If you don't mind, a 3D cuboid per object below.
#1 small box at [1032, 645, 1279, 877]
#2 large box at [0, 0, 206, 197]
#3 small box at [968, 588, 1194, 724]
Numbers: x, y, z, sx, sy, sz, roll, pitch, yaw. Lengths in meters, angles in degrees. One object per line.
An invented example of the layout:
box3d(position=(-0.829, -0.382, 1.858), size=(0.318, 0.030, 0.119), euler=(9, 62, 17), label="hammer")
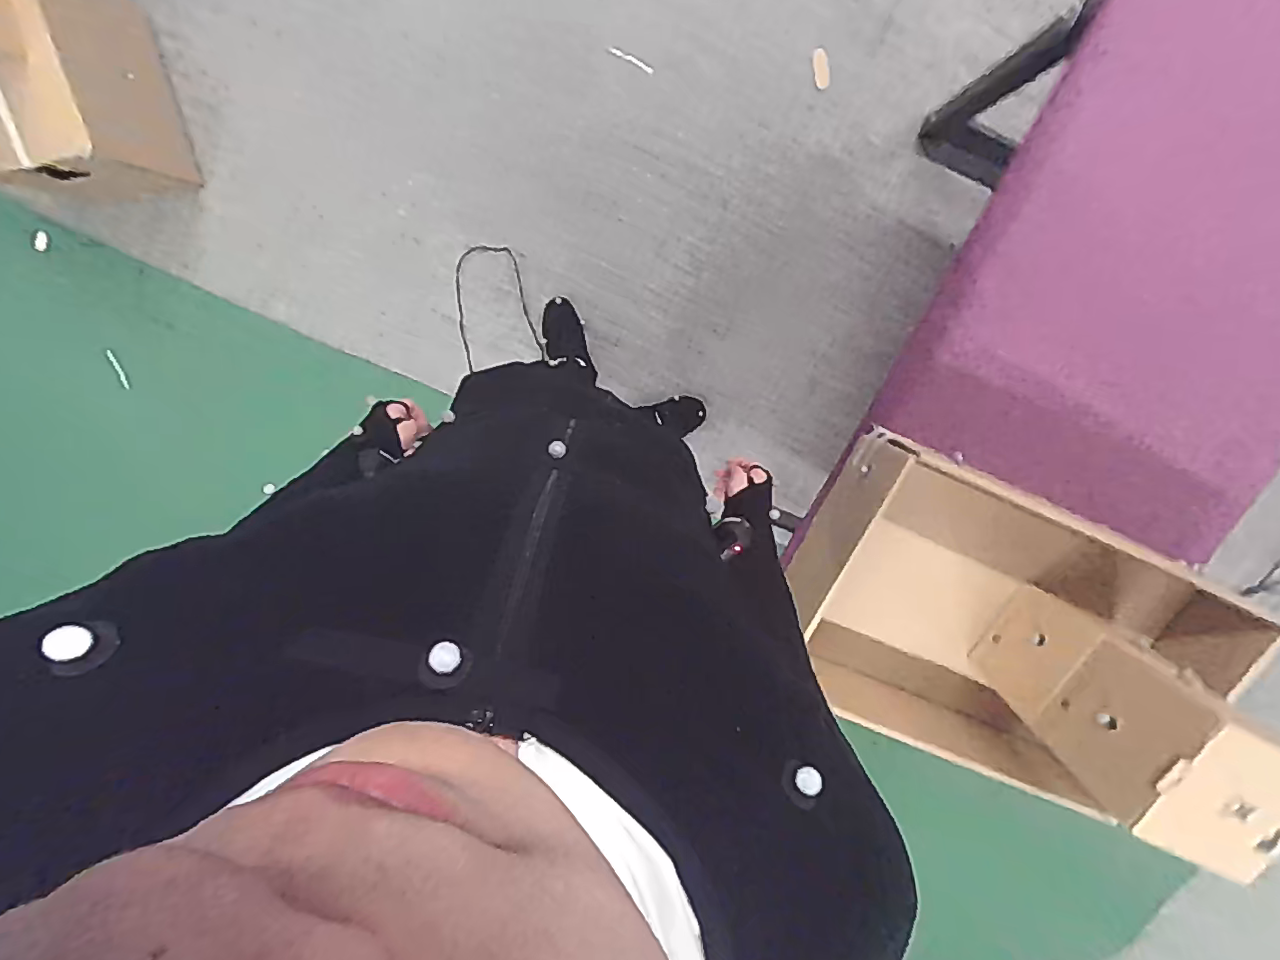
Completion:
box3d(position=(0.661, 0.340, 0.687), size=(0.179, 0.176, 0.168), euler=(27, 105, -5), label="small box")
box3d(position=(-1.347, -0.932, 1.266), size=(0.320, 0.320, 0.408), euler=(-7, 108, 5), label="large box")
box3d(position=(0.664, 0.293, 0.844), size=(0.179, 0.176, 0.168), euler=(26, 104, -6), label="small box")
